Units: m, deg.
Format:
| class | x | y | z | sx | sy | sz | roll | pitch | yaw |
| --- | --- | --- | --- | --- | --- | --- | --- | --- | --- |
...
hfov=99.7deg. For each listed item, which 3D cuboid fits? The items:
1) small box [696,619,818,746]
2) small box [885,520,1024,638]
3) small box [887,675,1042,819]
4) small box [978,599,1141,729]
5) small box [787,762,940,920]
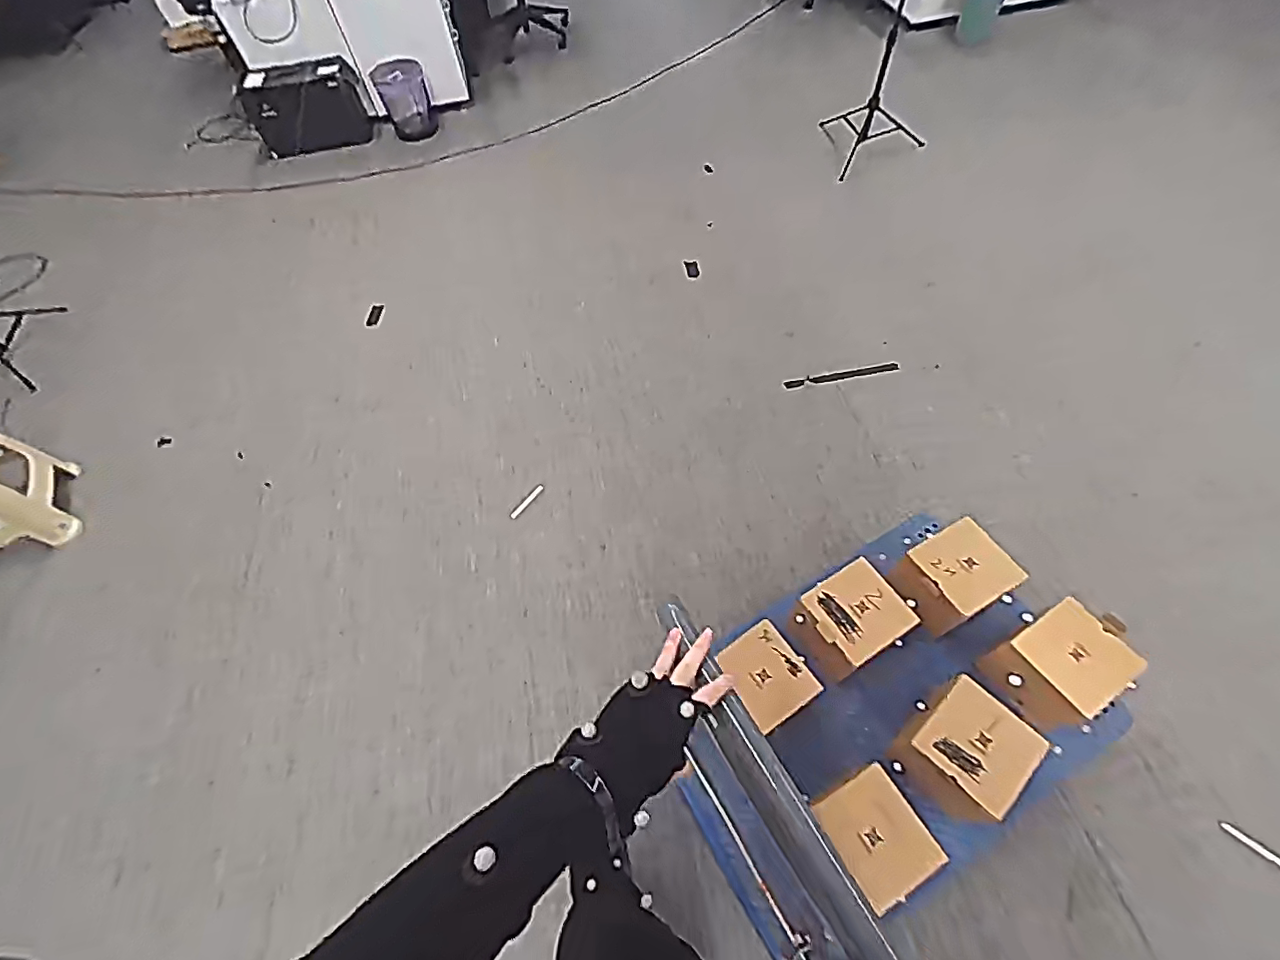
| class | x | y | z | sx | sy | sz | roll | pitch | yaw |
| --- | --- | --- | --- | --- | --- | --- | --- | --- | --- |
| small box | 0.230 | 0.419 | 1.105 | 0.179 | 0.176 | 0.168 | -30 | 62 | -14 |
| small box | 0.680 | 0.223 | 1.195 | 0.179 | 0.176 | 0.168 | -26 | 60 | -11 |
| small box | 0.598 | 0.509 | 1.025 | 0.179 | 0.176 | 0.168 | -38 | 63 | -19 |
| small box | 0.826 | 0.376 | 1.093 | 0.179 | 0.176 | 0.168 | -30 | 61 | -14 |
| small box | 0.381 | 0.635 | 0.964 | 0.179 | 0.176 | 0.168 | -26 | 61 | -13 |
